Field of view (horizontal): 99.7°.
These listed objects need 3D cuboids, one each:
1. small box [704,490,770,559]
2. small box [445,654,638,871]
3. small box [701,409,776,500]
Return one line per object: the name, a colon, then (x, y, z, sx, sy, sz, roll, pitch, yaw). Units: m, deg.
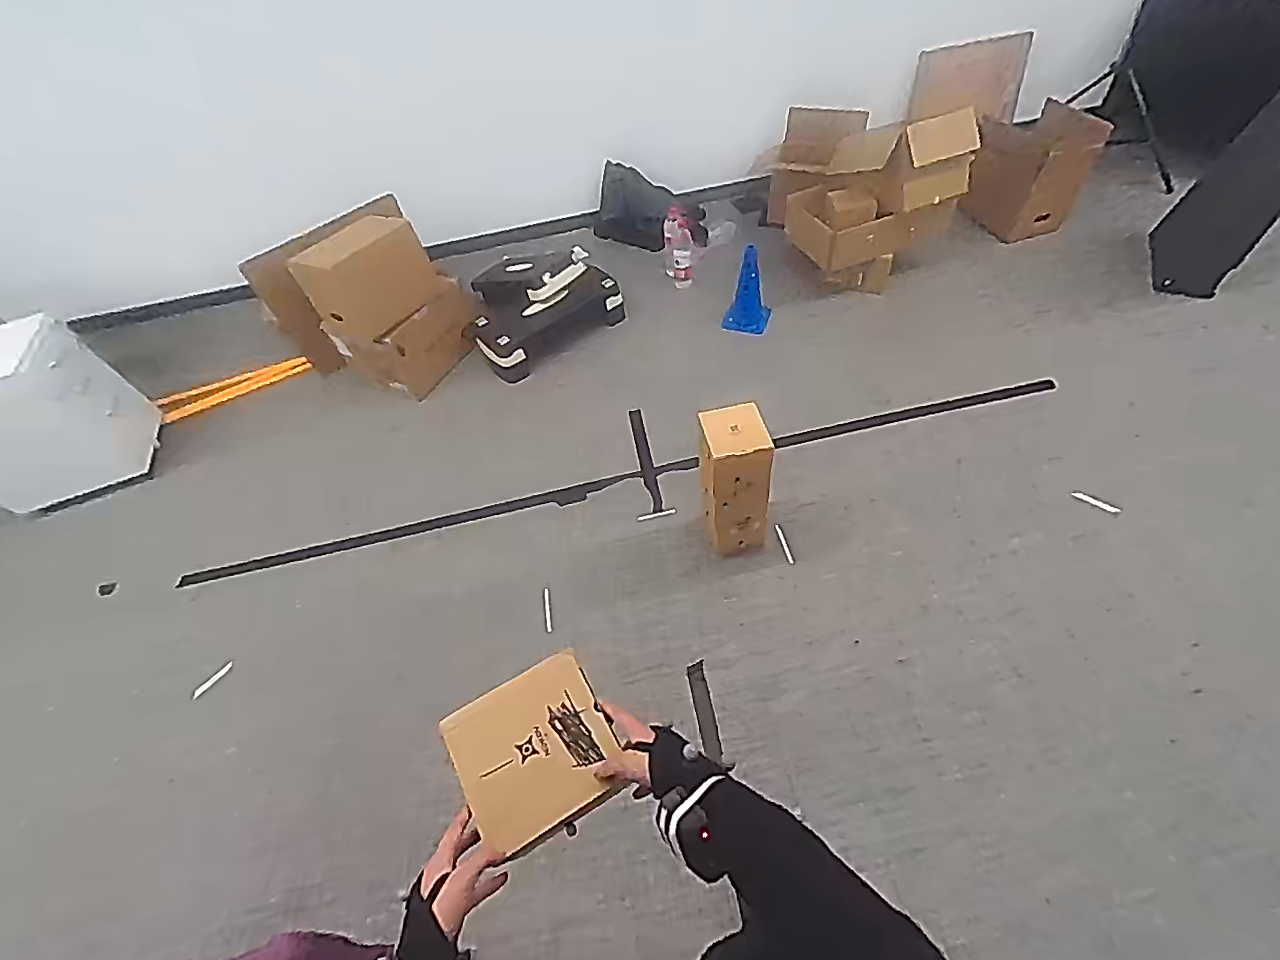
small box: (0.312, 0.132, 1.774, 0.168, 0.176, 0.179, -15, 53, -3)
small box: (-0.116, 0.353, 0.689, 0.179, 0.176, 0.168, -27, 61, -14)
small box: (0.269, -0.071, 1.520, 0.168, 0.176, 0.179, -11, 52, -2)
